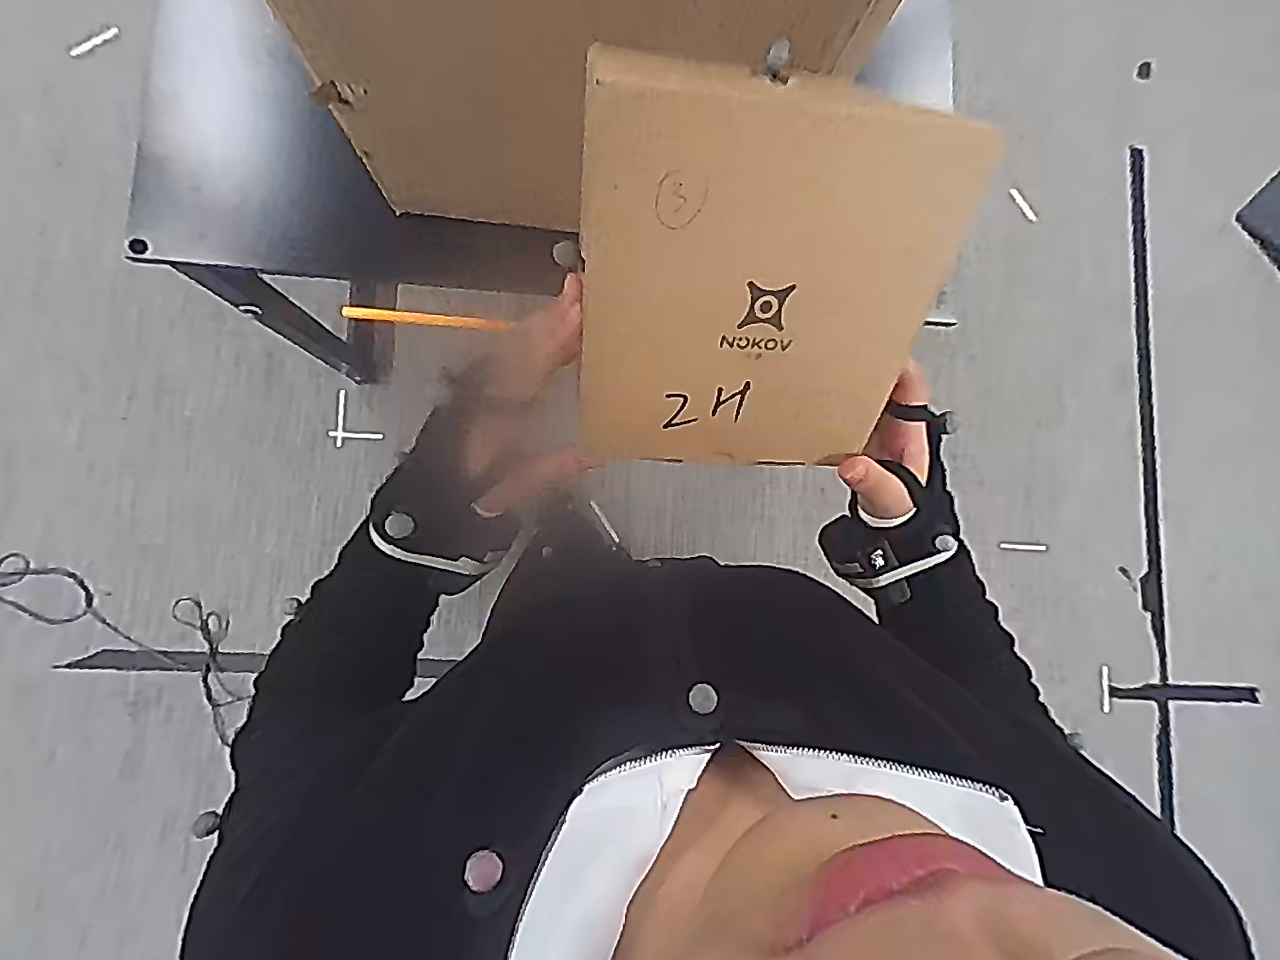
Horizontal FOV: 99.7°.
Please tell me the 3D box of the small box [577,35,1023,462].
[{"bbox_3d":[0.051,-0.131,0.308,0.168,0.179,0.176,2,42,-8],"label":"small box"}]
